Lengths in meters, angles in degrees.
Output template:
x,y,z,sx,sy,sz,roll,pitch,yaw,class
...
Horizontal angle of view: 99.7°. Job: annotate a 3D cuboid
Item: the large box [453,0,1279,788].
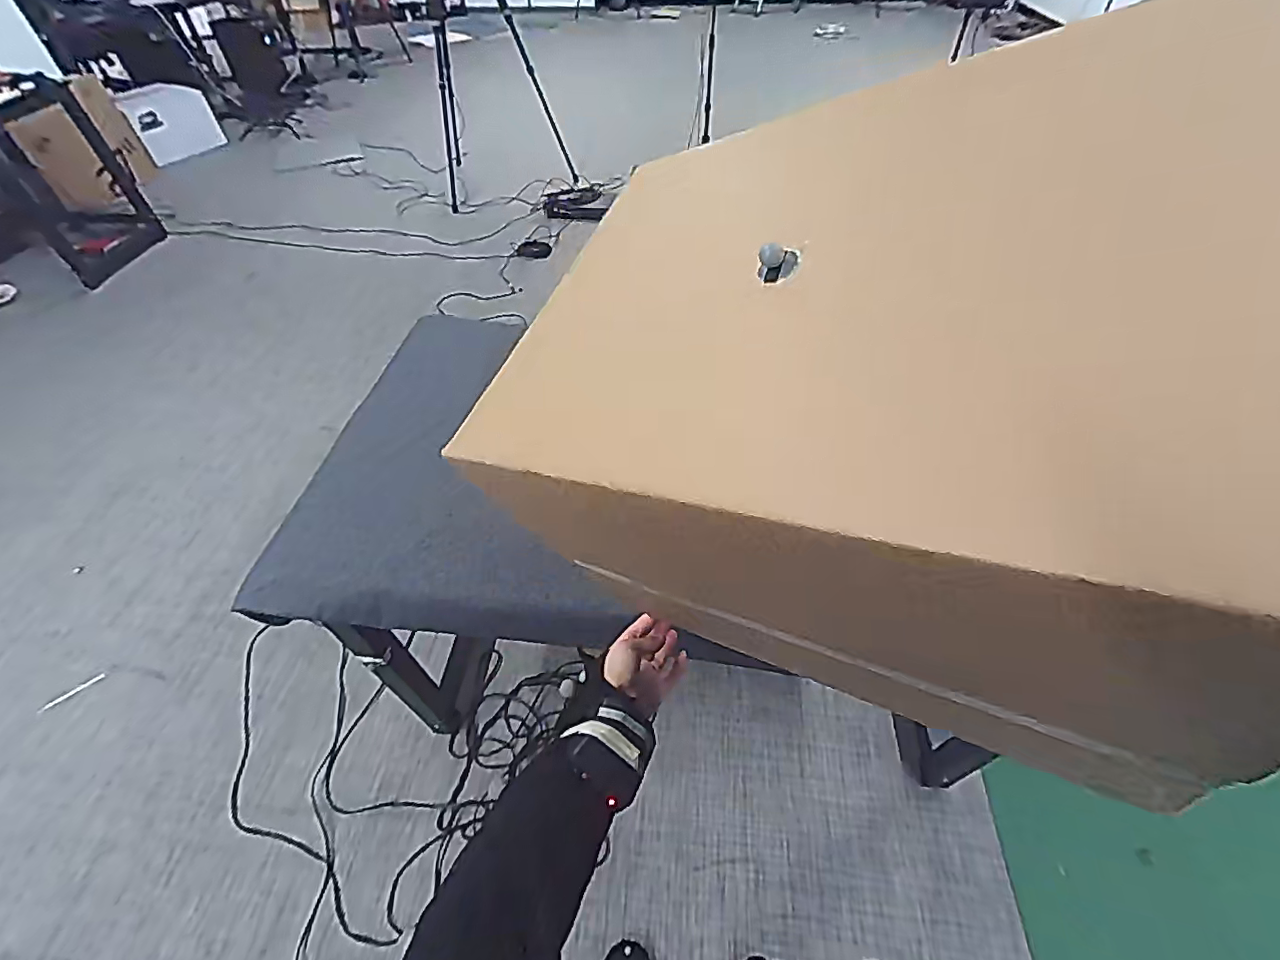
x,y,z,sx,sy,sz,roll,pitch,yaw,class
0.152,-0.031,0.400,0.408,0.320,0.320,9,63,39,large box
